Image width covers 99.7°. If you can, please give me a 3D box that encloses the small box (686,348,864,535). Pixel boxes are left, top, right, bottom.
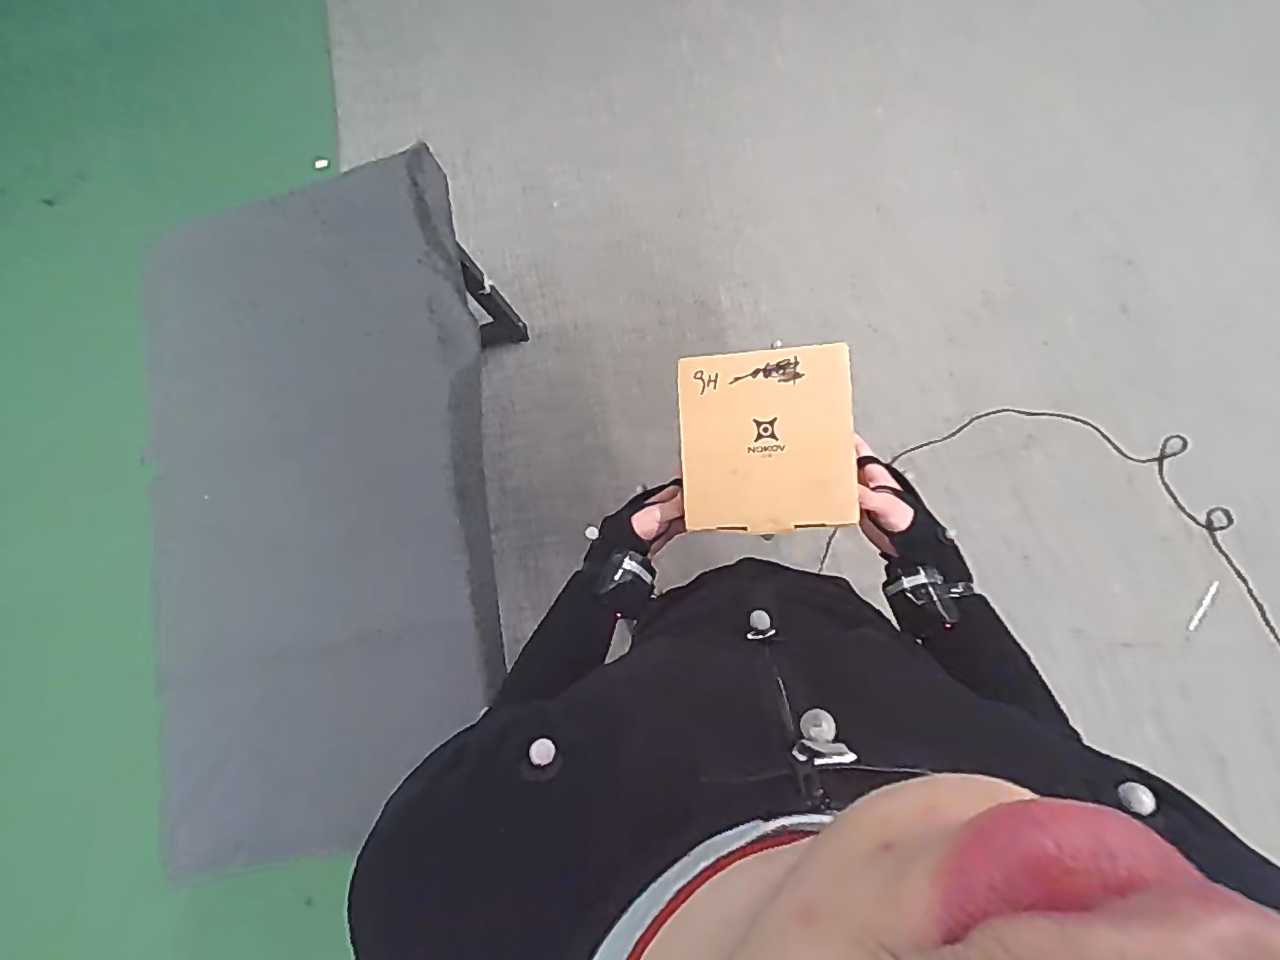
[{"bbox_3d":[0.142,-0.035,0.599,0.168,0.176,0.179,-2,88,9],"label":"small box"}]
